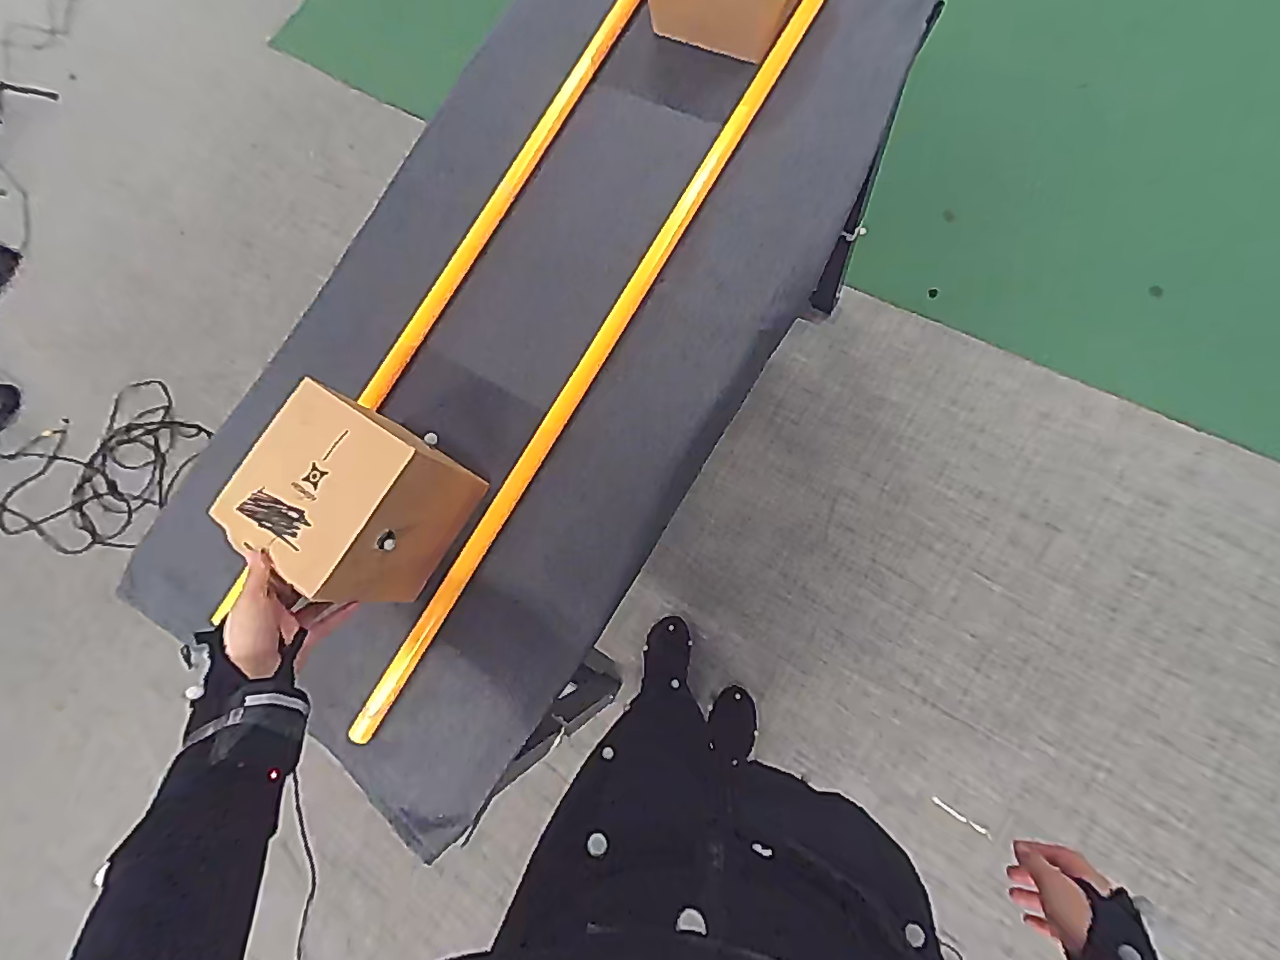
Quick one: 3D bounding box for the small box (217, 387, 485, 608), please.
[{"bbox_3d":[-0.311,0.031,0.620,0.168,0.176,0.179,31,83,15],"label":"small box"}]
